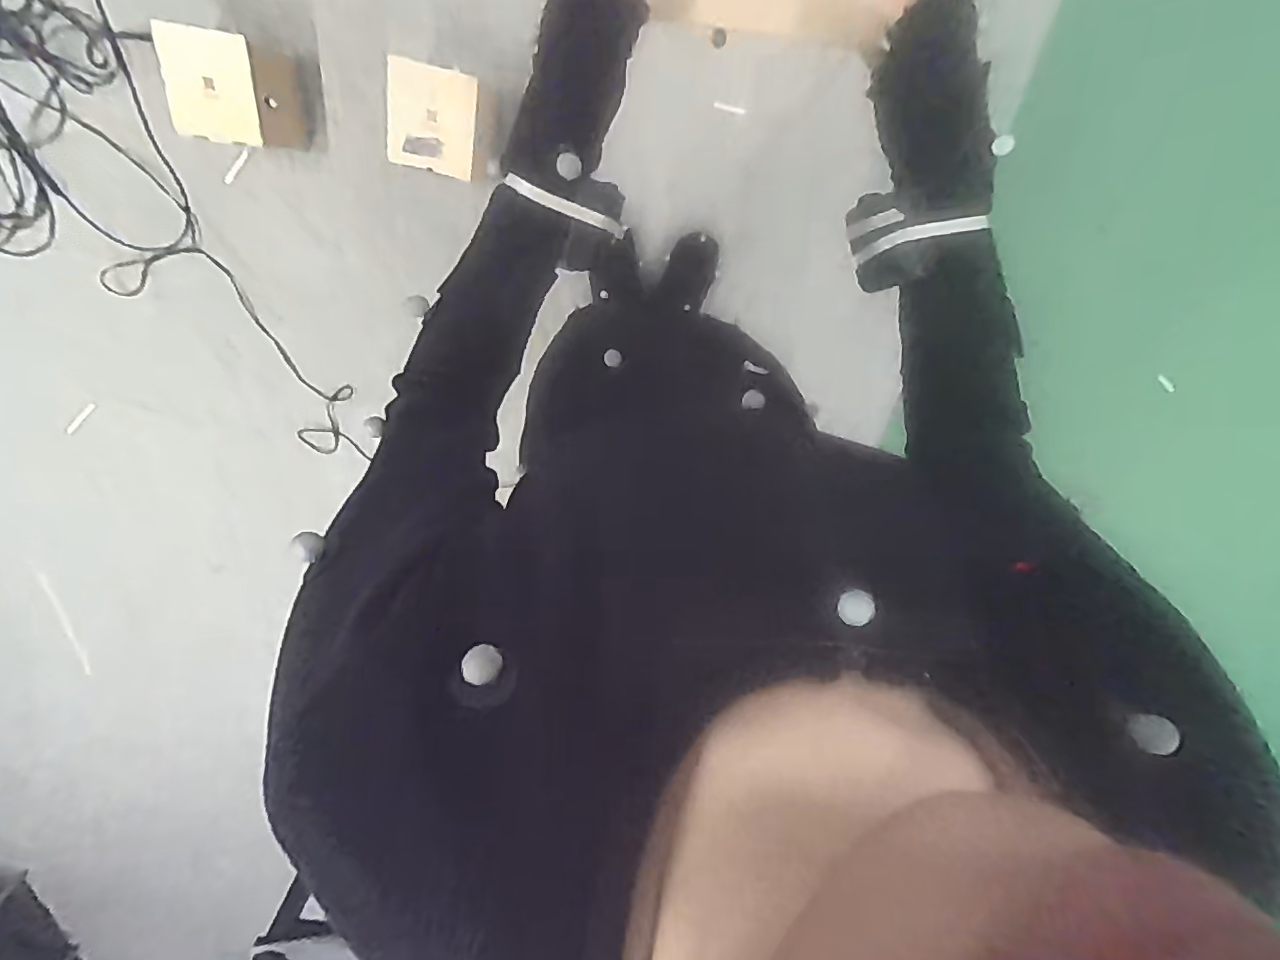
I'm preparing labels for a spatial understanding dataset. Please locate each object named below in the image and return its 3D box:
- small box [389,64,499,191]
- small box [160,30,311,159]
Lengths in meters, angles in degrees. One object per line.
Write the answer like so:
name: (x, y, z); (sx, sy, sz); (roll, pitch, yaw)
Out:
small box: (-0.394, -0.707, 1.106); (0.168, 0.176, 0.179); (12, 117, -6)
small box: (-0.794, -0.758, 1.083); (0.168, 0.176, 0.179); (8, 118, -3)
